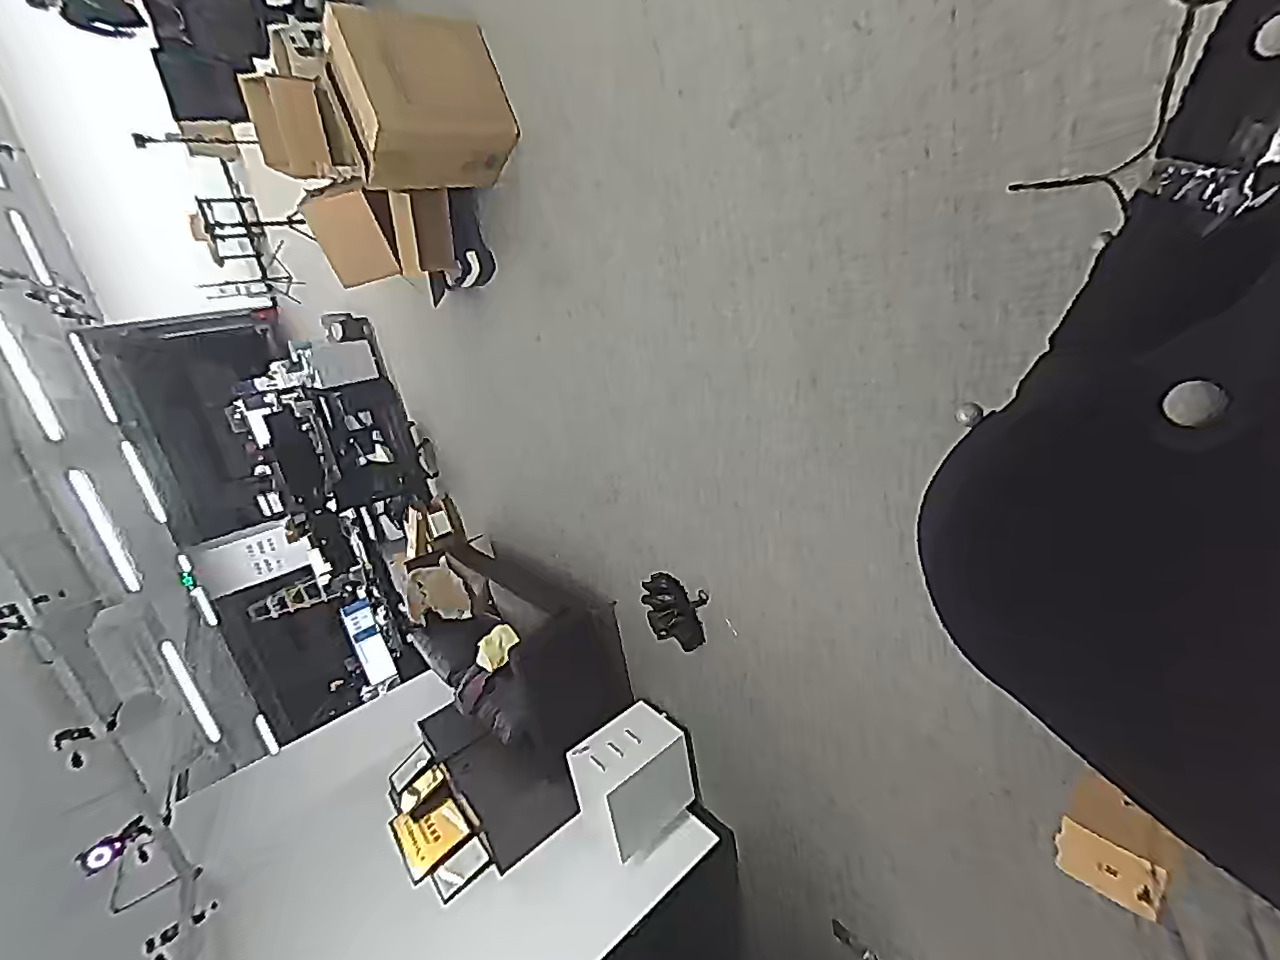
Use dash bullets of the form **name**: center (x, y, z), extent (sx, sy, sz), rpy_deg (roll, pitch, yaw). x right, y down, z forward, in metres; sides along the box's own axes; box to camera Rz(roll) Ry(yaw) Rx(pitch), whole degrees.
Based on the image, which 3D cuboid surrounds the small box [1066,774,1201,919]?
- **small box**: center (1.085, 0.791, 1.193), extent (0.179, 0.176, 0.168), rpy_deg (16, 123, 50)
